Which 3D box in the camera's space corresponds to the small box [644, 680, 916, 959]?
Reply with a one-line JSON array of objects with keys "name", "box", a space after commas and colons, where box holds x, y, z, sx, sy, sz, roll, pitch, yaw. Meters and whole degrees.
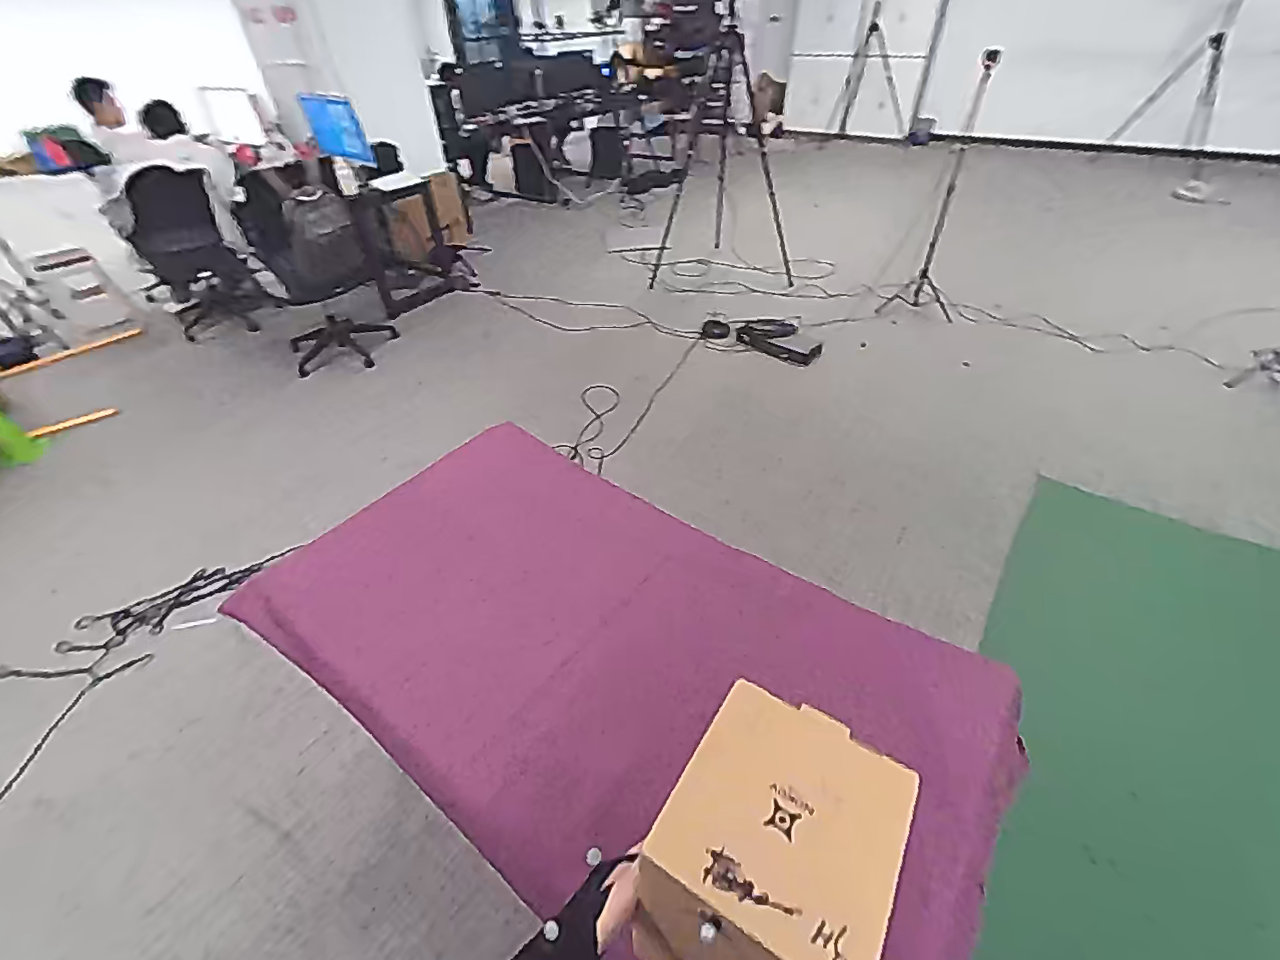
[{"name": "small box", "box": [0.113, 0.323, 0.470, 0.168, 0.176, 0.179, 22, 41, 27]}]
